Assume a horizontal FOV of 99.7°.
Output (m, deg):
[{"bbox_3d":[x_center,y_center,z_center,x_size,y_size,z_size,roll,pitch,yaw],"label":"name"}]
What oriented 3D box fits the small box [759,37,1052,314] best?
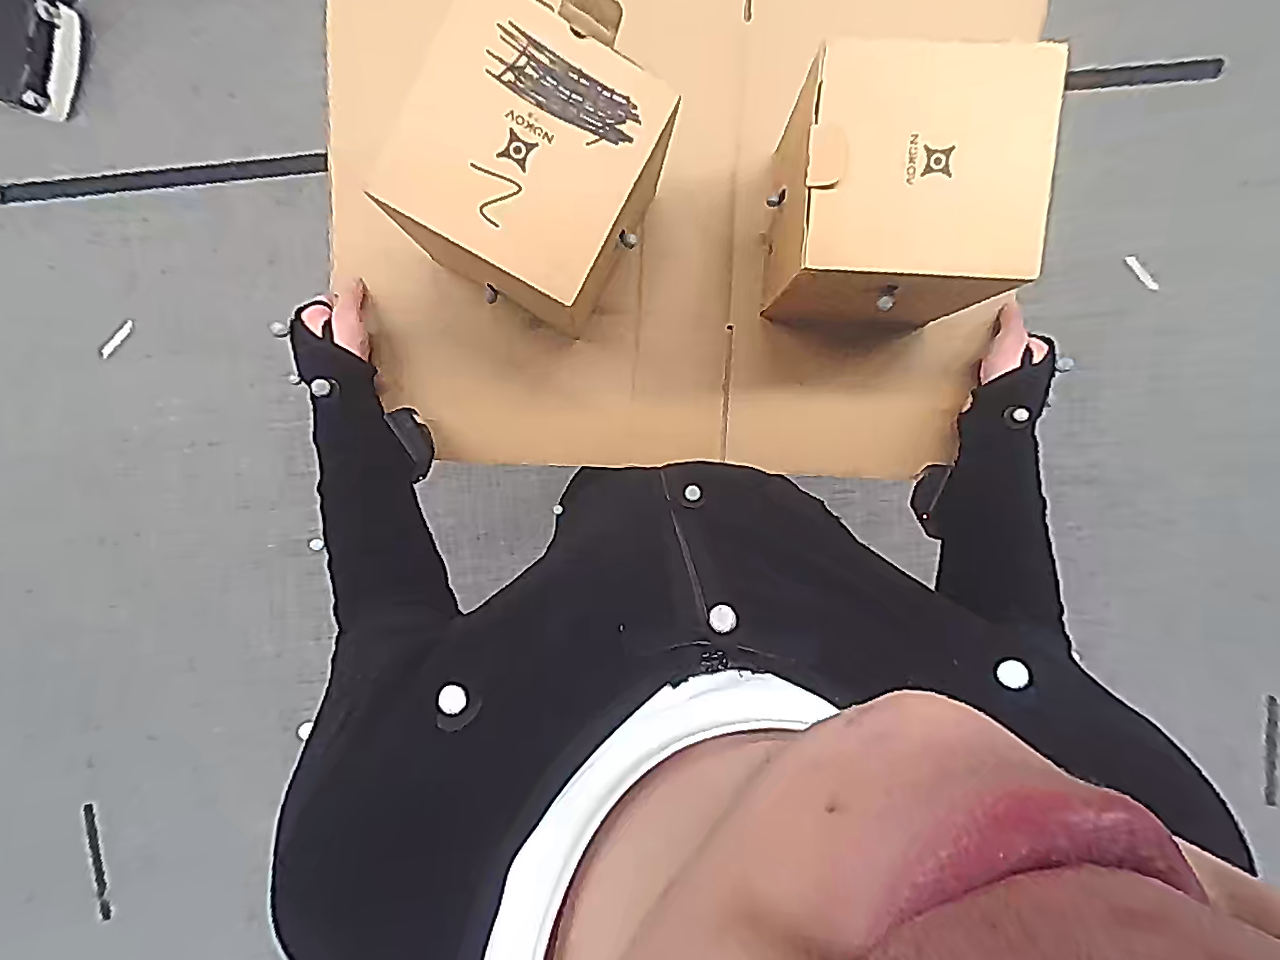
[{"bbox_3d":[0.216,-0.252,0.489,0.179,0.176,0.168,4,96,2],"label":"small box"}]
